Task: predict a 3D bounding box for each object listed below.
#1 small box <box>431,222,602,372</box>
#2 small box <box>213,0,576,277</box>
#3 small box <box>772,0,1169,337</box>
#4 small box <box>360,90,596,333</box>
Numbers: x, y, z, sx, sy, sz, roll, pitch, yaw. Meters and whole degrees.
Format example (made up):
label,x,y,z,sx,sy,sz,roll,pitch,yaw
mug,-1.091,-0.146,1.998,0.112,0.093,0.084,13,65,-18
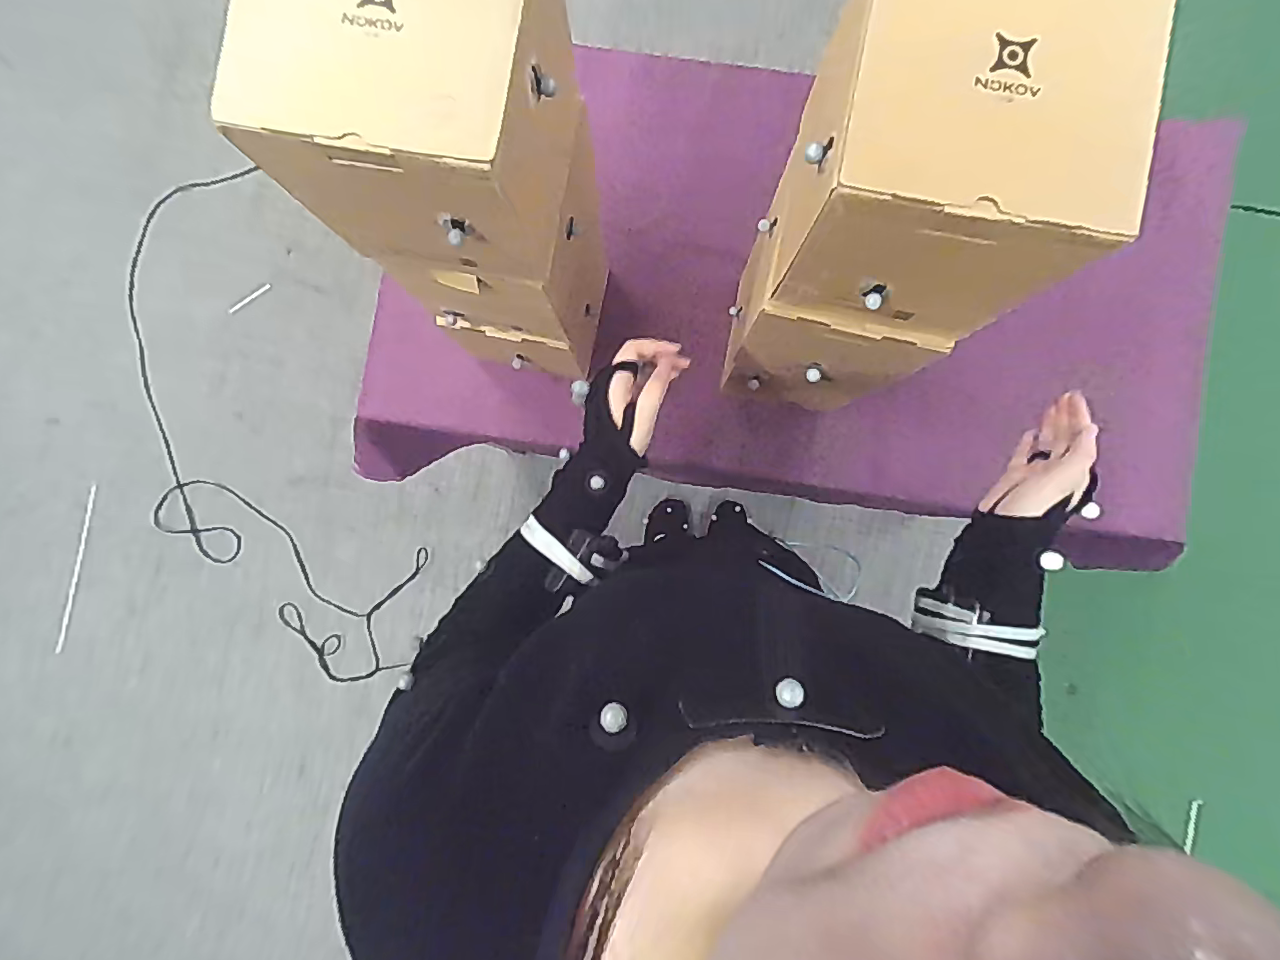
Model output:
label,x,y,z,sx,sy,sz,roll,pitch,yaw
small box,-0.148,-0.254,0.713,0.168,0.176,0.179,12,89,0
small box,-0.145,-0.269,0.386,0.168,0.176,0.179,11,88,0
small box,0.203,-0.222,0.382,0.168,0.176,0.179,11,88,1
small box,-0.145,-0.267,0.549,0.168,0.176,0.179,13,87,1
